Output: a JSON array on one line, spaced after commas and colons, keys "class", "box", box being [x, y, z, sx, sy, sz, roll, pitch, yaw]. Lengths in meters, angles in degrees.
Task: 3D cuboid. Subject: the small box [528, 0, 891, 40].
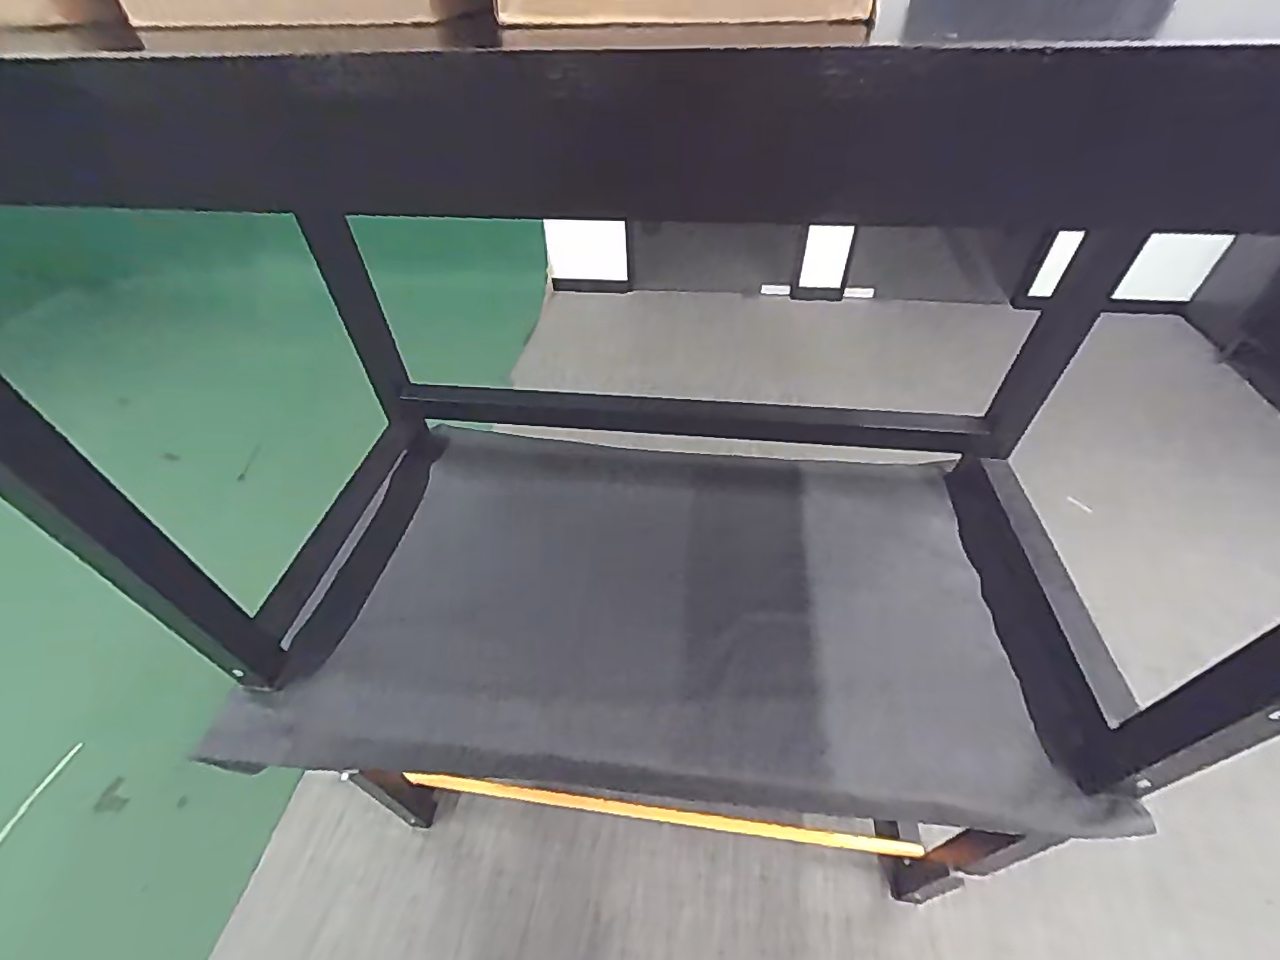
[{"class": "small box", "box": [0.036, -0.313, 0.234, 0.168, 0.176, 0.179, 6, 47, 7]}]
